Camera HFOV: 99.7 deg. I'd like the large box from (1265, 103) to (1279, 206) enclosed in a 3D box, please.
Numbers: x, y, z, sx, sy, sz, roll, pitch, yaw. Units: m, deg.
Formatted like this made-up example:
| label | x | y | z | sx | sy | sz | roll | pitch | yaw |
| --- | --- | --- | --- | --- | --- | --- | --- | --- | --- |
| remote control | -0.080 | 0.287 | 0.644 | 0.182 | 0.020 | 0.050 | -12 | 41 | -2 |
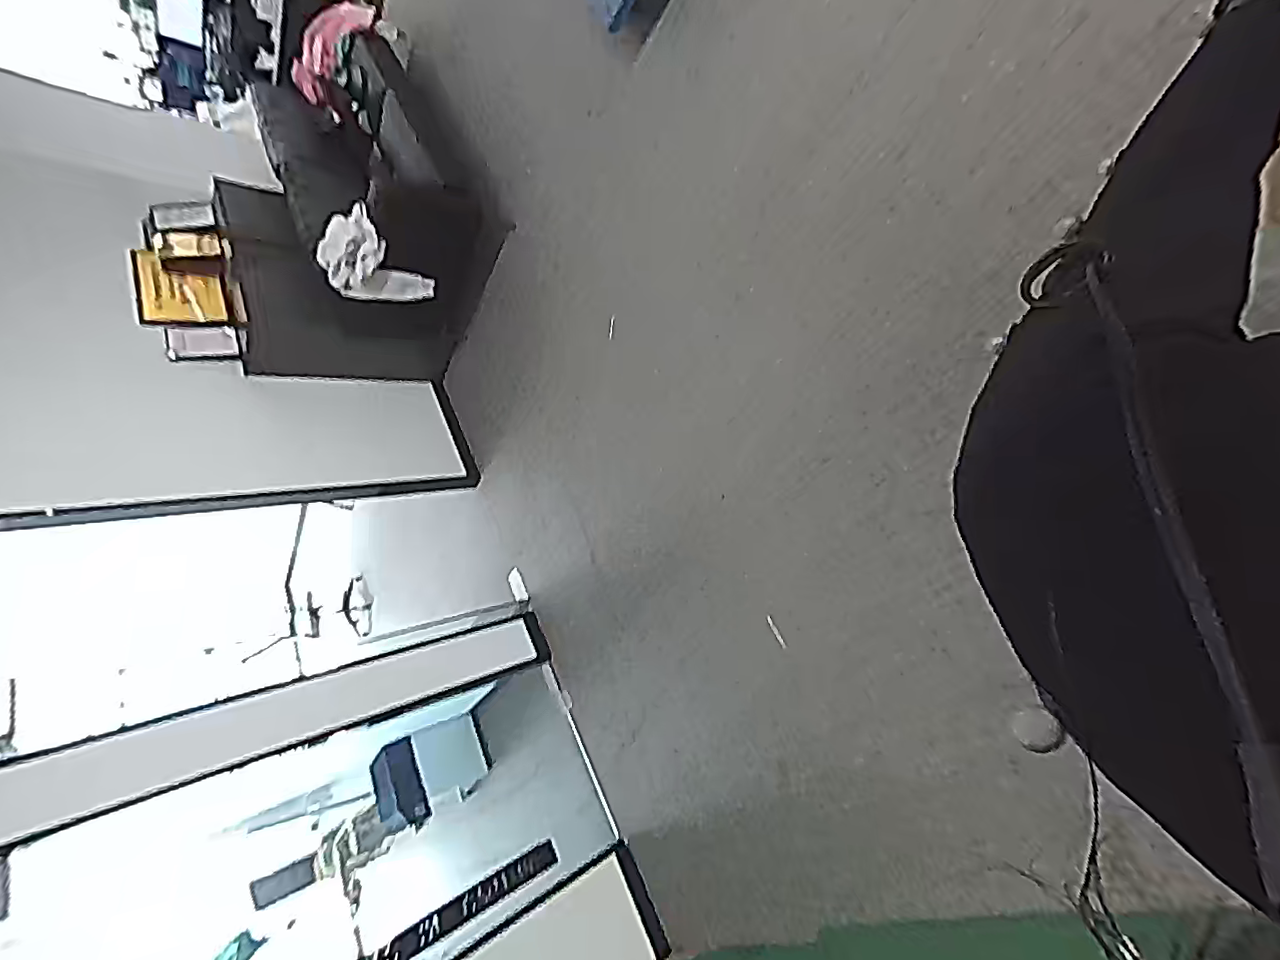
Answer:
| label | x | y | z | sx | sy | sz | roll | pitch | yaw |
| --- | --- | --- | --- | --- | --- | --- | --- | --- | --- |
| large box | 0.780 | -0.393 | 0.356 | 0.408 | 0.320 | 0.320 | 32 | 111 | 44 |
